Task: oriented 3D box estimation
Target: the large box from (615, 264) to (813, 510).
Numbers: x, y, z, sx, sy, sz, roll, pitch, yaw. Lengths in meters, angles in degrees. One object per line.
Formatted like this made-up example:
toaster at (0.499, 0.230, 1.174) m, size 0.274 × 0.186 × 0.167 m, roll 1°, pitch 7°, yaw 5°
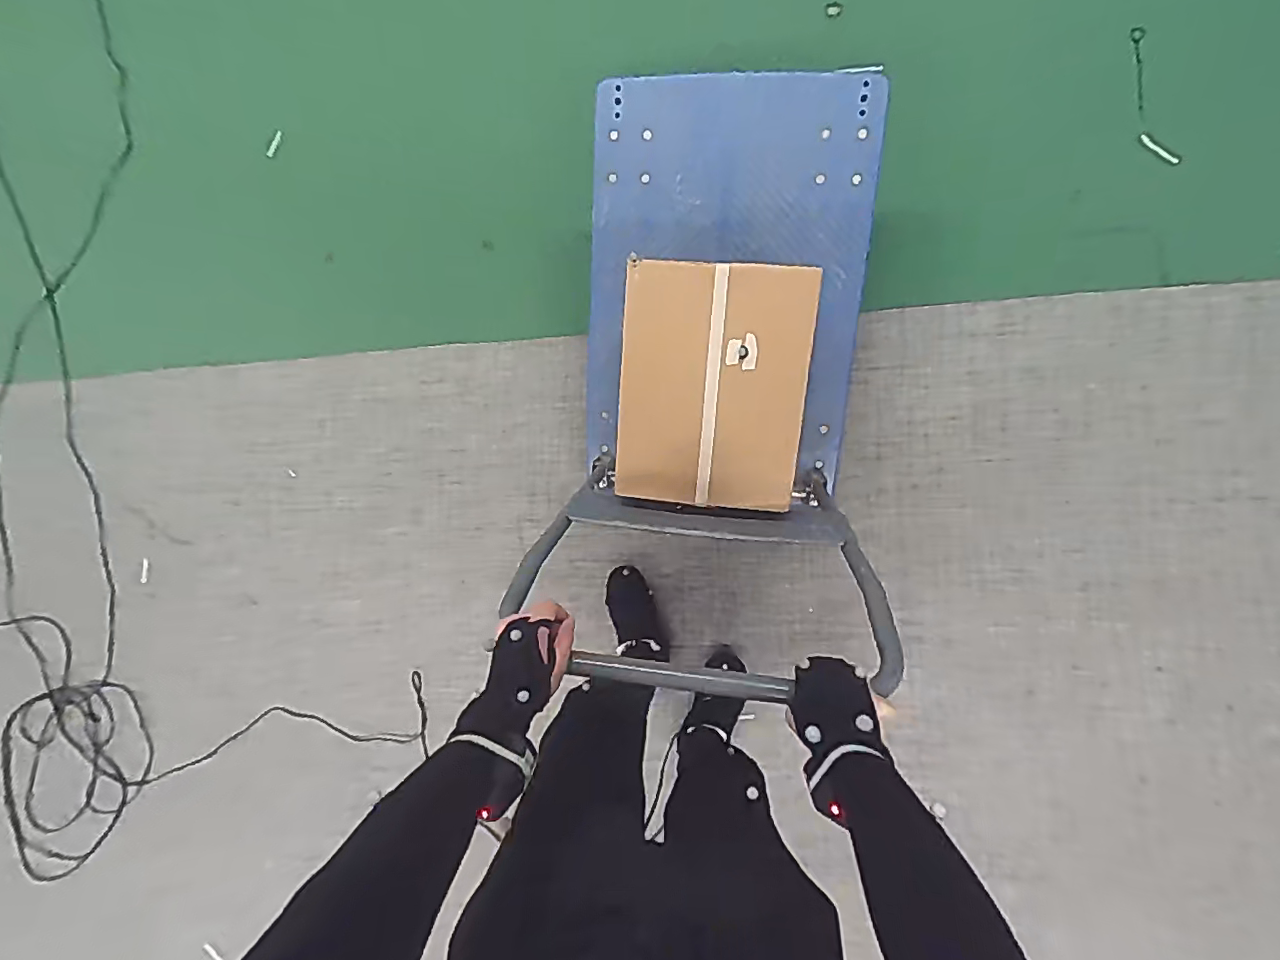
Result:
large box at (0.139, -0.182, 1.060) m, size 0.320 × 0.320 × 0.408 m, roll 5°, pitch 103°, yaw 8°
